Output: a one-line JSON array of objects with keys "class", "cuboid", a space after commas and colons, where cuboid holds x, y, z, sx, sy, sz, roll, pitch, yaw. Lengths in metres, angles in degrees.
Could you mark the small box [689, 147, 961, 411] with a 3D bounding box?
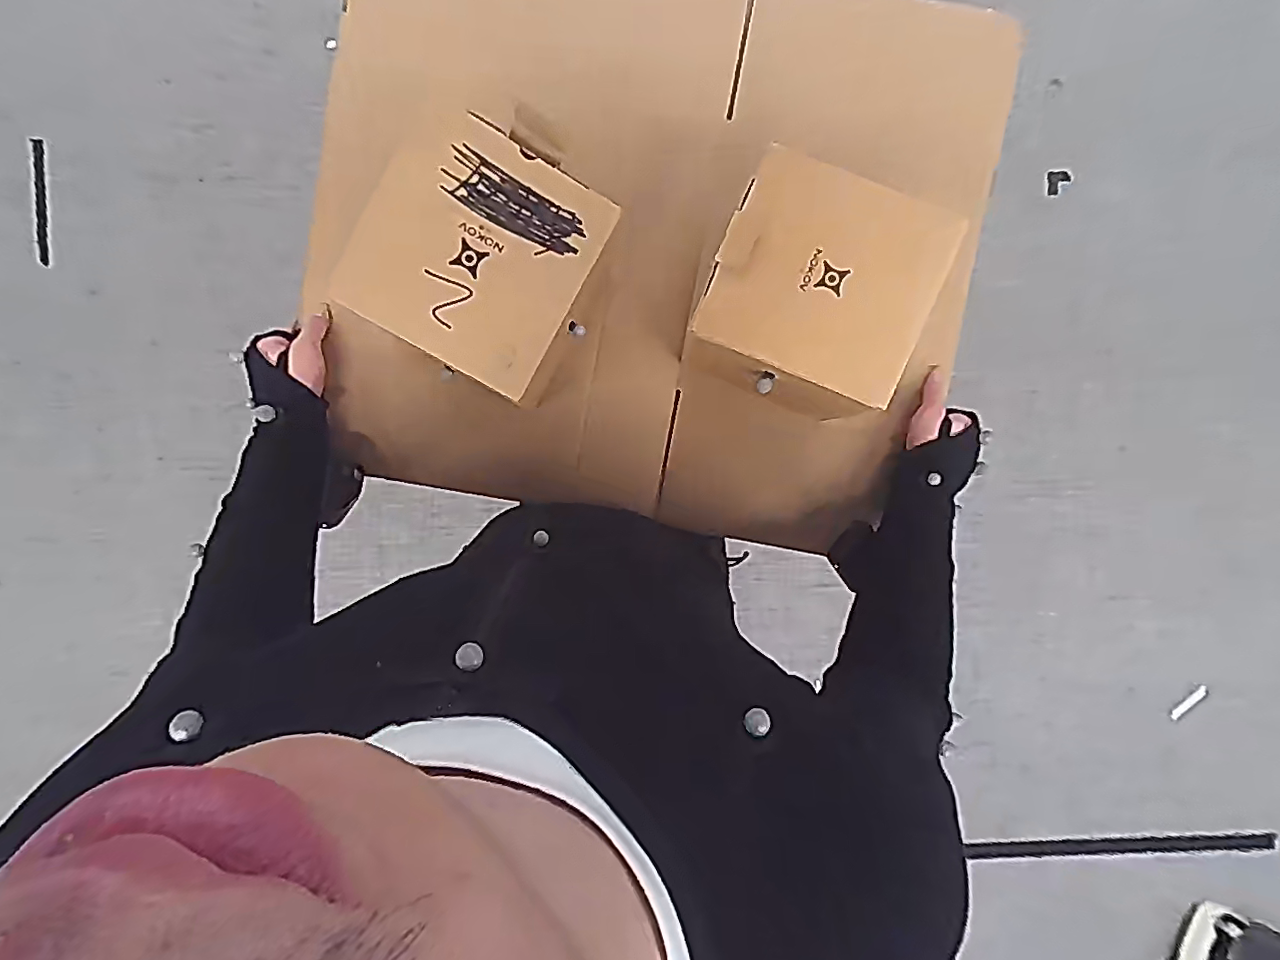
[{"class": "small box", "cuboid": [0.158, -0.174, 0.530, 0.179, 0.176, 0.168, 23, 94, 2]}]
